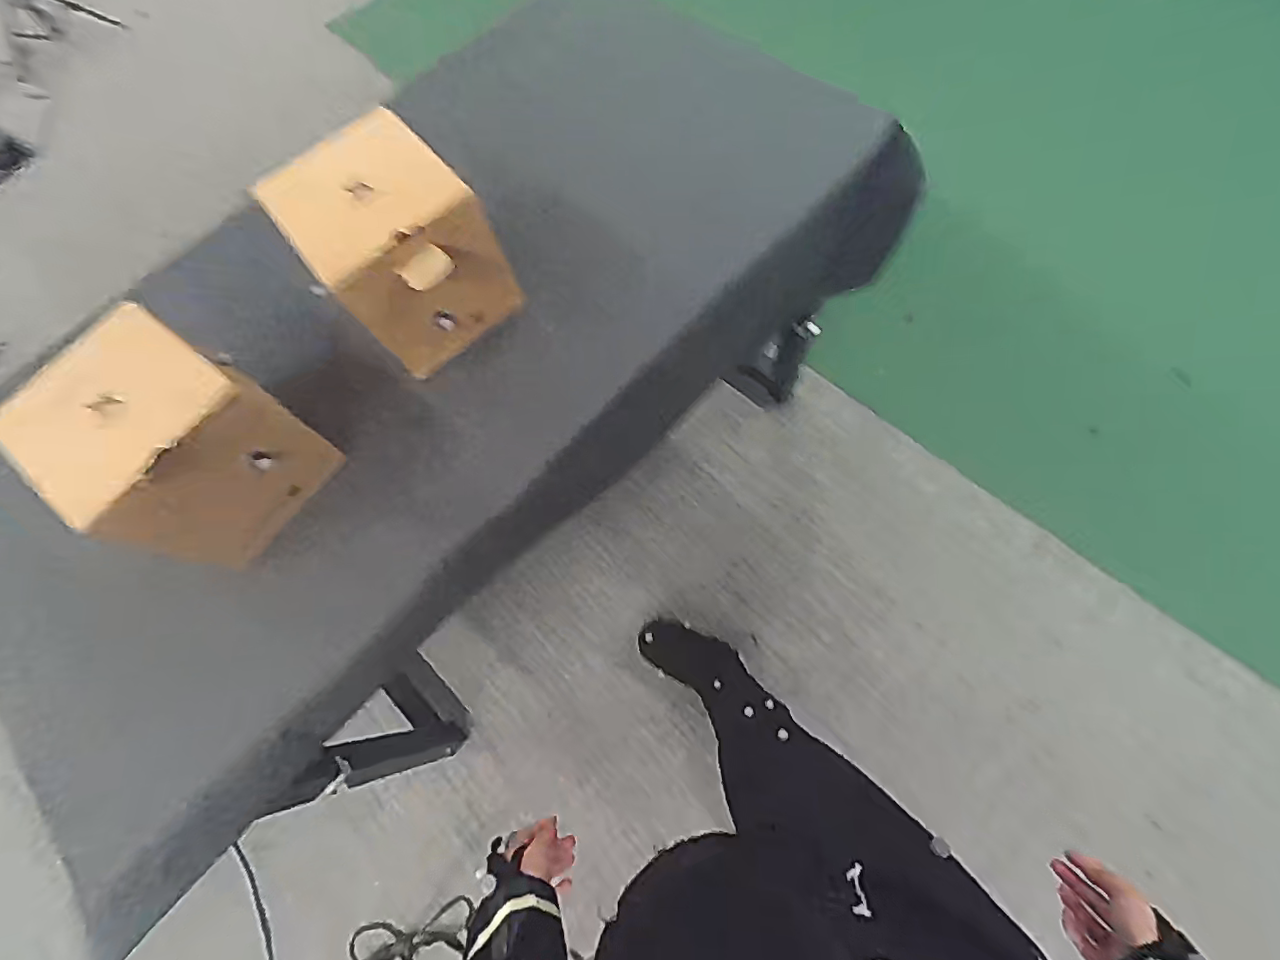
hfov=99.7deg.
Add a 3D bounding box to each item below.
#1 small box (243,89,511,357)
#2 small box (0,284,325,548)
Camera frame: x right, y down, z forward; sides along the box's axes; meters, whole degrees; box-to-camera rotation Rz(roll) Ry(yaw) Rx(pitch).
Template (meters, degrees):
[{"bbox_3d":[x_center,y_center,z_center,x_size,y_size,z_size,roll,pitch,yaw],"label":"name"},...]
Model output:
[{"bbox_3d":[-0.274,-0.272,0.598,0.168,0.176,0.179,-39,71,-9],"label":"small box"},{"bbox_3d":[-0.466,-0.050,0.538,0.179,0.176,0.168,33,75,17],"label":"small box"}]
